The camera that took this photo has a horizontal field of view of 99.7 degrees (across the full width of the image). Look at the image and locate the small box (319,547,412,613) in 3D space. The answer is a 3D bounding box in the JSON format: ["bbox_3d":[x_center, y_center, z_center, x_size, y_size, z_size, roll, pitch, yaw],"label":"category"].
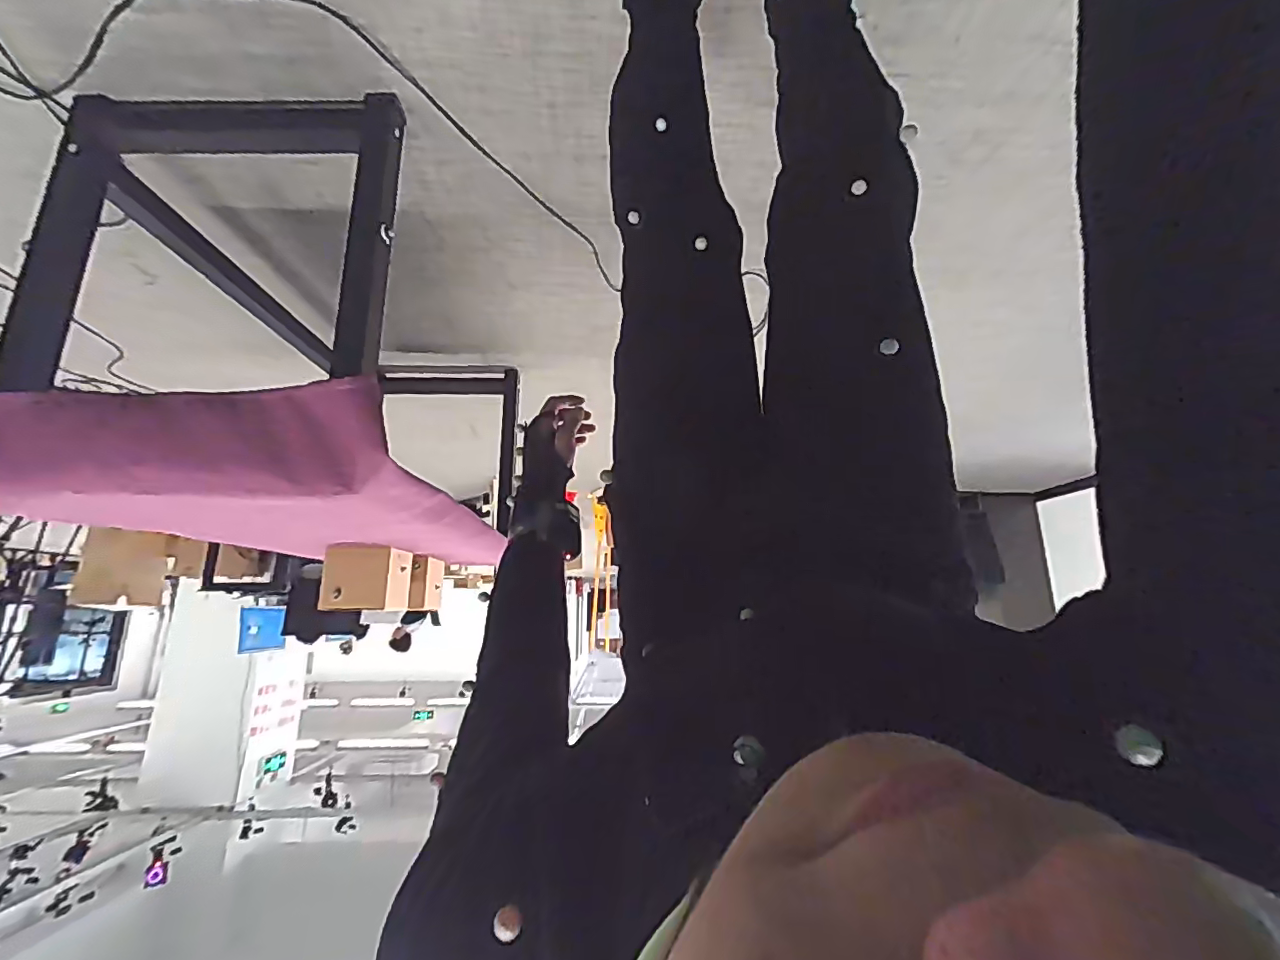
[{"bbox_3d":[-0.753,0.280,1.502,0.179,0.176,0.168,0,166,-3],"label":"small box"}]

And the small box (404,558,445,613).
[{"bbox_3d":[-0.742,0.342,1.750,0.168,0.176,0.179,1,167,-3],"label":"small box"}]
